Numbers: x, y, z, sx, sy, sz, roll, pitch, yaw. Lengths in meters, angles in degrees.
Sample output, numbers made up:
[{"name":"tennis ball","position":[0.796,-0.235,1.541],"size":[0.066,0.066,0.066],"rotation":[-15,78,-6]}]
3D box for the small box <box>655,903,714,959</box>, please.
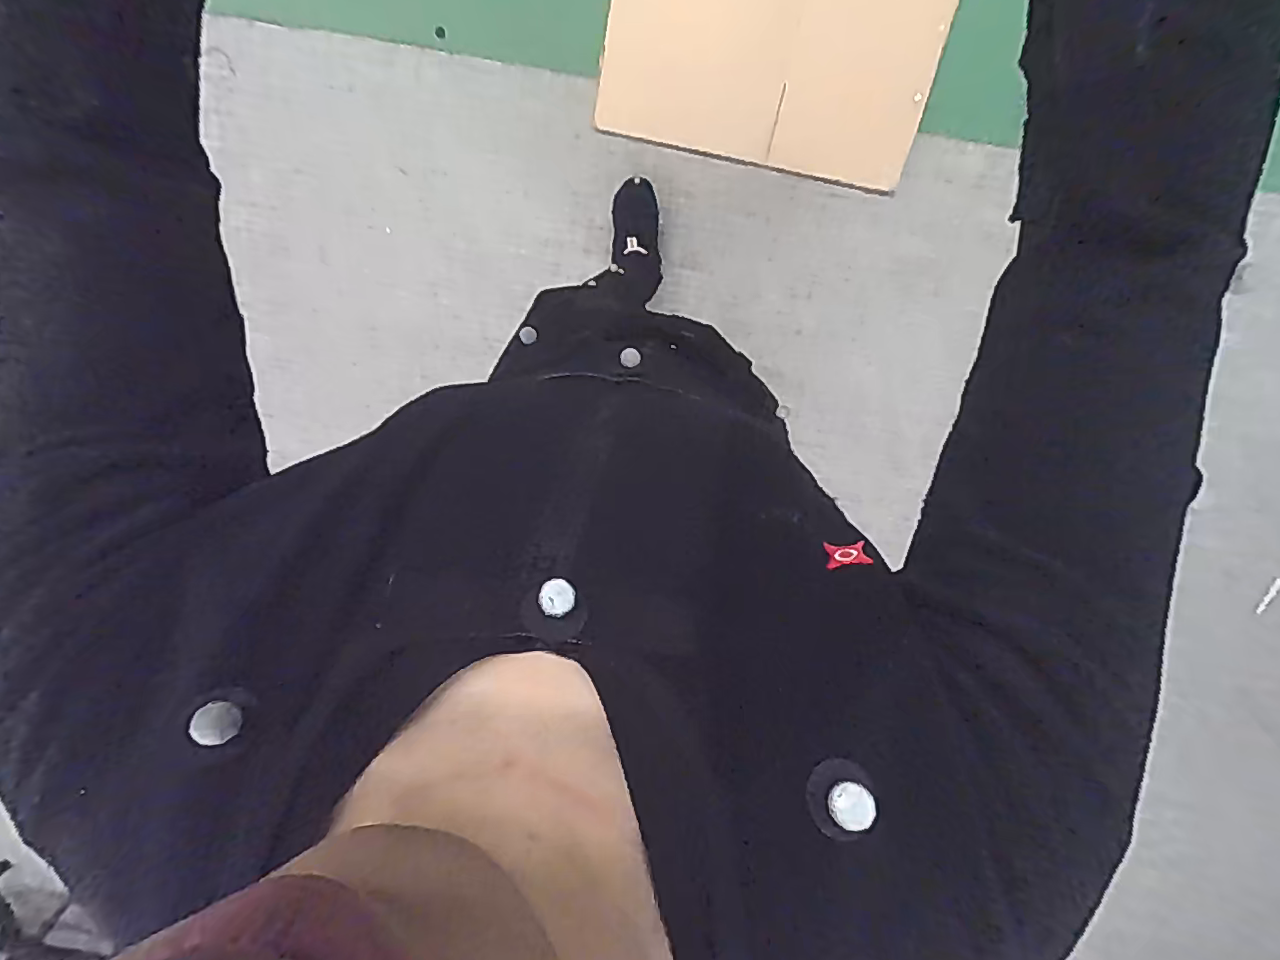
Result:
[{"name":"small box","position":[0.138,1.478,1.688],"size":[0.168,0.176,0.179],"rotation":[9,109,3]}]
